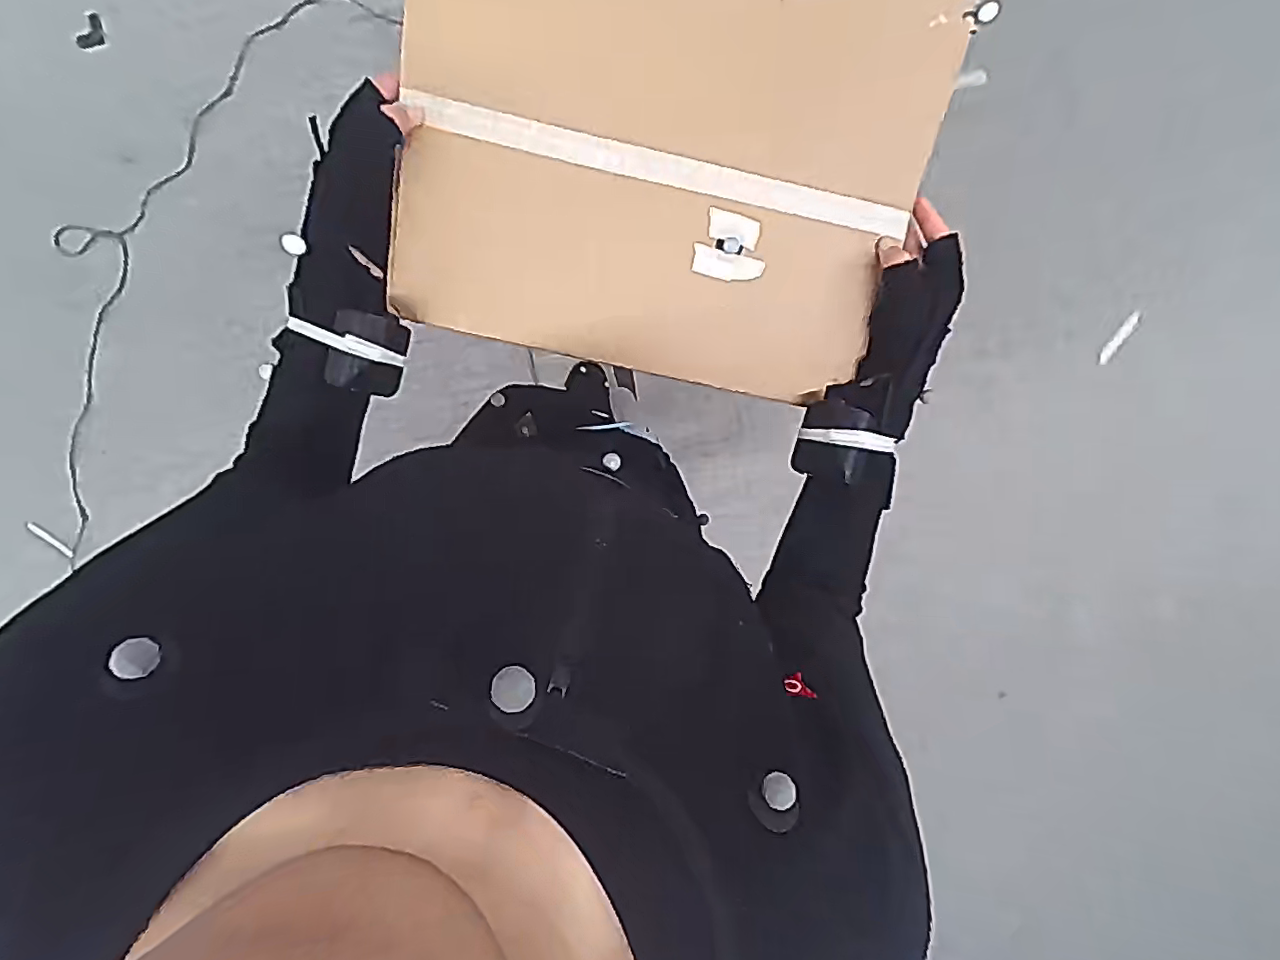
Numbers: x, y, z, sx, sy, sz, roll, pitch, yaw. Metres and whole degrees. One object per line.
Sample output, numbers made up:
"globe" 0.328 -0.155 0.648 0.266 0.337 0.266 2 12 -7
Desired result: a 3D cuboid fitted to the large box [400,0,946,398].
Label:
"large box" 0.007 -0.293 0.579 0.408 0.320 0.320 10 108 -5
